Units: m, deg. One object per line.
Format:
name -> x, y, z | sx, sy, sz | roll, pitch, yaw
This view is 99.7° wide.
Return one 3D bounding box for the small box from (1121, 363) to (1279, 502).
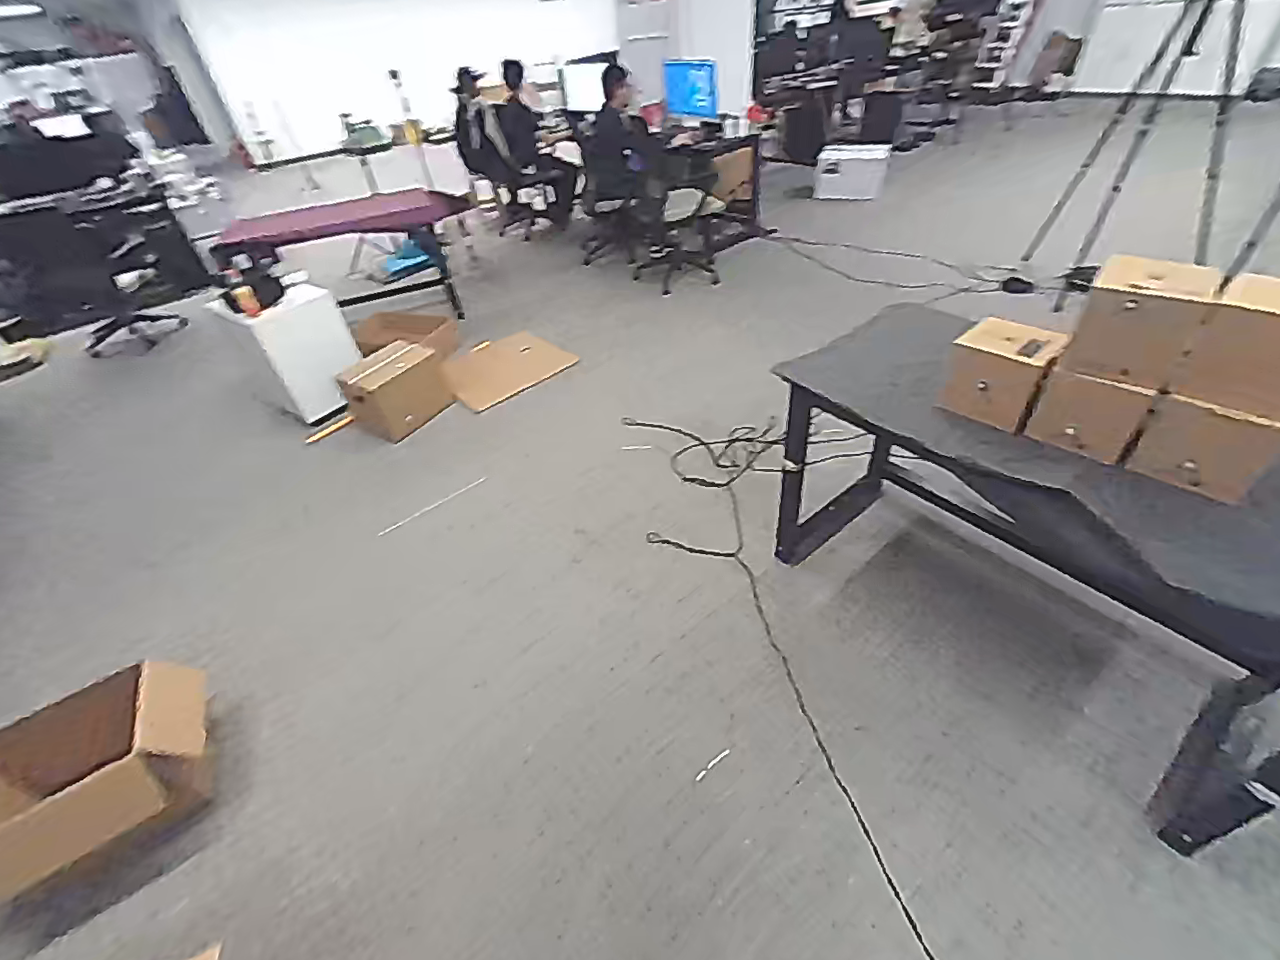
small box -> 1.060, -0.092, 1.017 | 0.179, 0.176, 0.168 | -33, 45, -27
